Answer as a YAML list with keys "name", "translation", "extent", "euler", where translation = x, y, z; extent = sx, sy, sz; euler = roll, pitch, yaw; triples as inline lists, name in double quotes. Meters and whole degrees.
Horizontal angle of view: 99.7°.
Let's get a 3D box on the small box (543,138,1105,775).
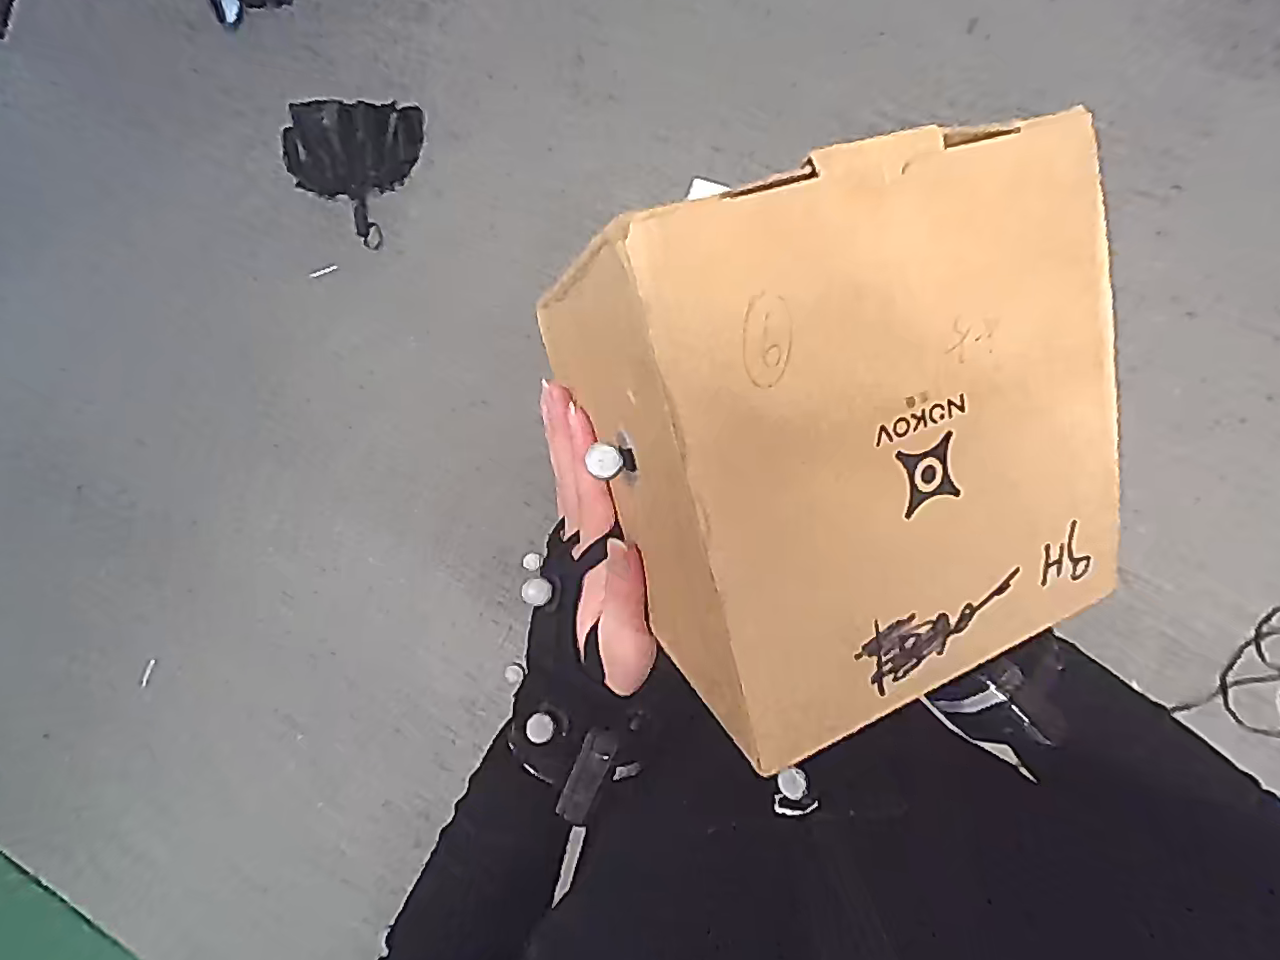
- name: "small box"
  translation: [0.063, -0.018, 0.254]
  extent: [0.168, 0.176, 0.179]
  euler: [-20, 103, -13]
